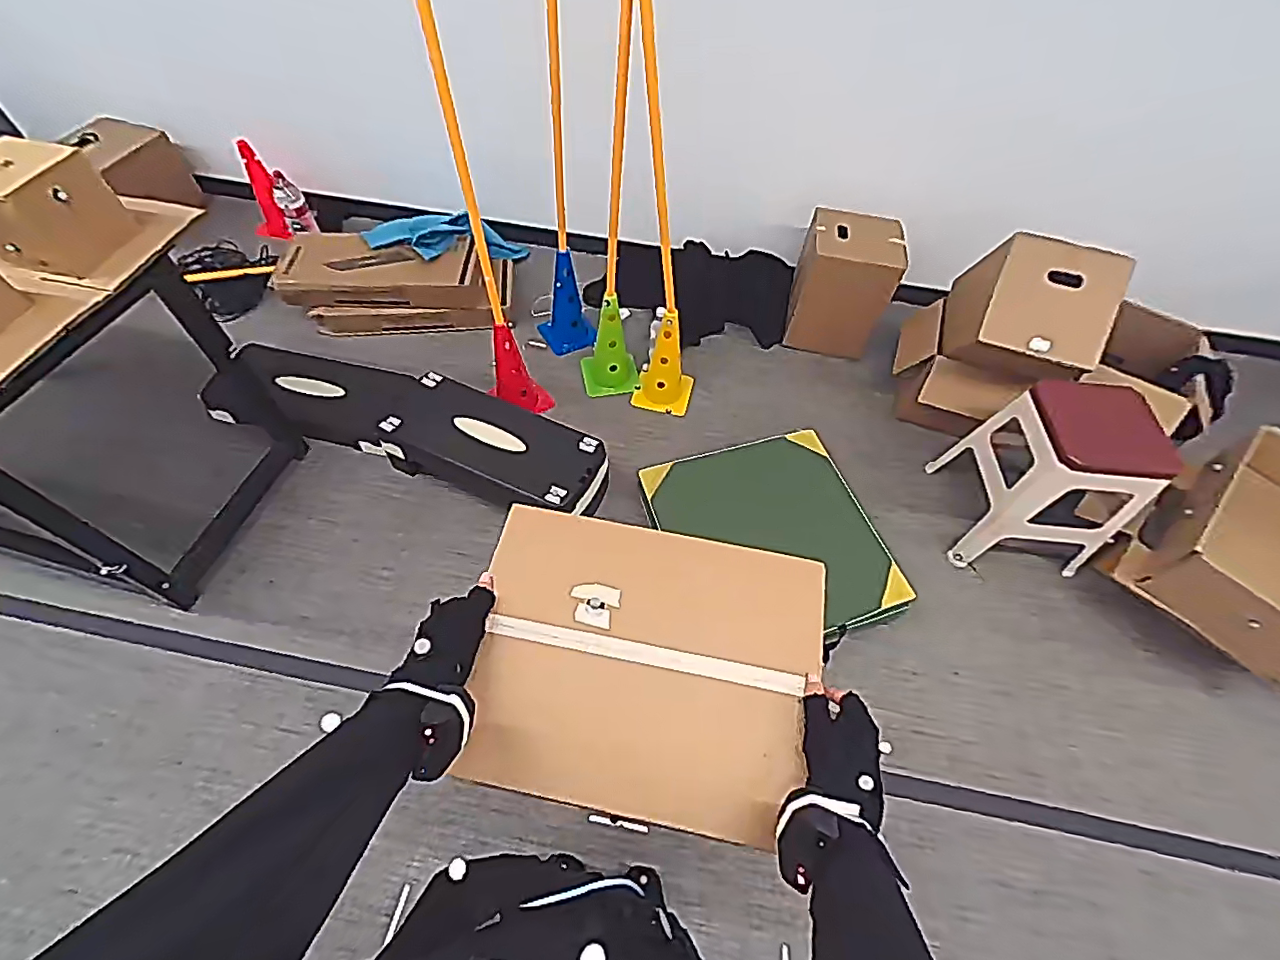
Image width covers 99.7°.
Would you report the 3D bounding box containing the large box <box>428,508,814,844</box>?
[{"bbox_3d":[-0.002,0.270,0.755,0.408,0.320,0.320,11,61,6],"label":"large box"}]
